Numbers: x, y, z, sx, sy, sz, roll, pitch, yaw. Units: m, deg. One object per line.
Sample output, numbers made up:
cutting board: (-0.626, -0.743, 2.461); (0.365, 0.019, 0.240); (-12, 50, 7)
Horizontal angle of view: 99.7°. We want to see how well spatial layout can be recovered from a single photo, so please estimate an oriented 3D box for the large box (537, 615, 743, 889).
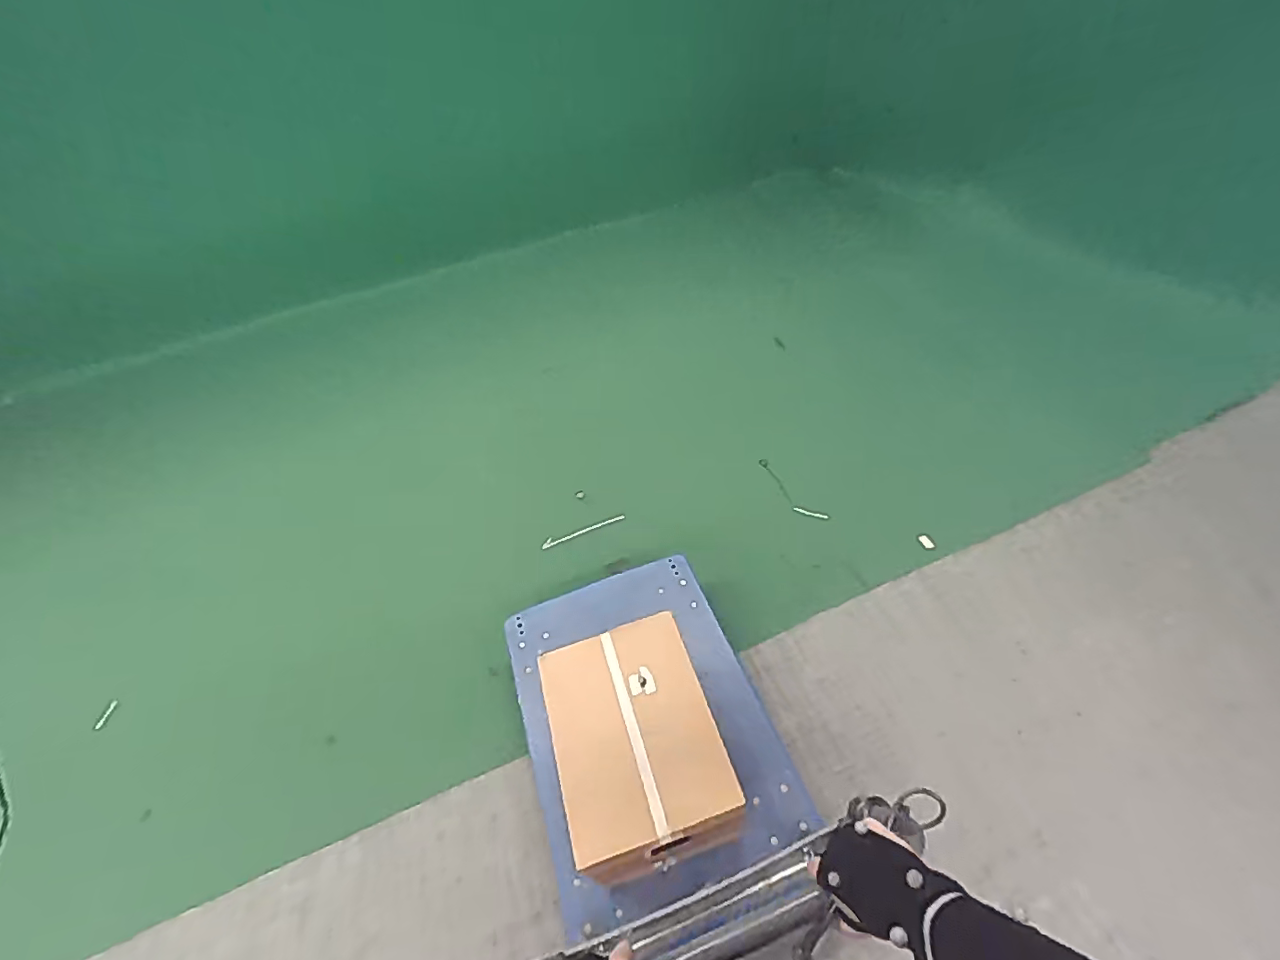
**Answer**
large box: (0.000, 0.582, 1.172); (0.320, 0.320, 0.408); (-18, 48, -7)
